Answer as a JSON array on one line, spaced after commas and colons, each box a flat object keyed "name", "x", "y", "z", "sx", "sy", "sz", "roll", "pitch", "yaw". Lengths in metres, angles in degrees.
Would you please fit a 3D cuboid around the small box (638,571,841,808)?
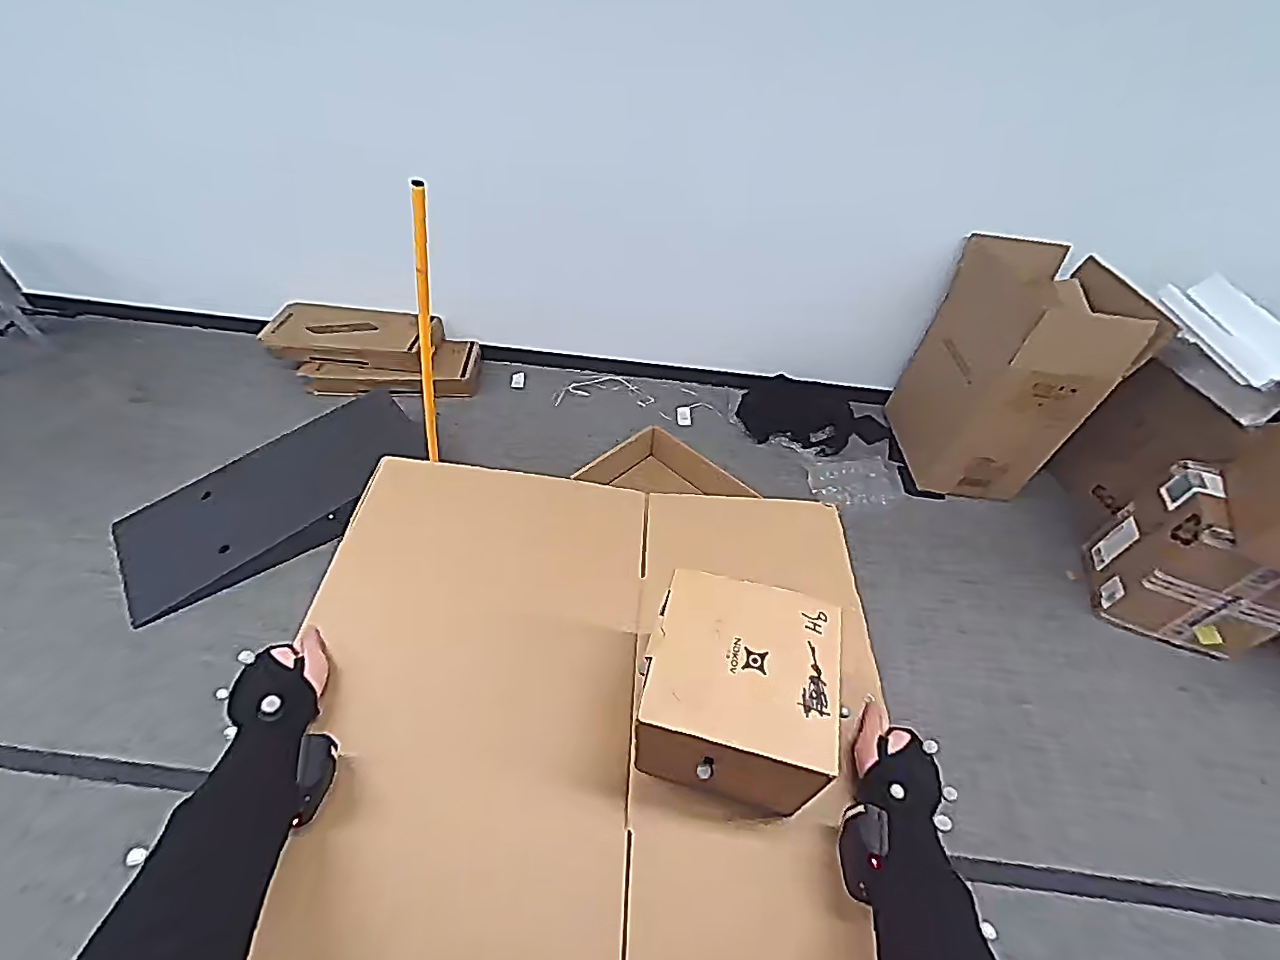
[{"name": "small box", "x": 0.102, "y": 0.225, "z": 0.577, "sx": 0.179, "sy": 0.176, "sz": 0.168, "roll": 11, "pitch": 49, "yaw": 10}]
